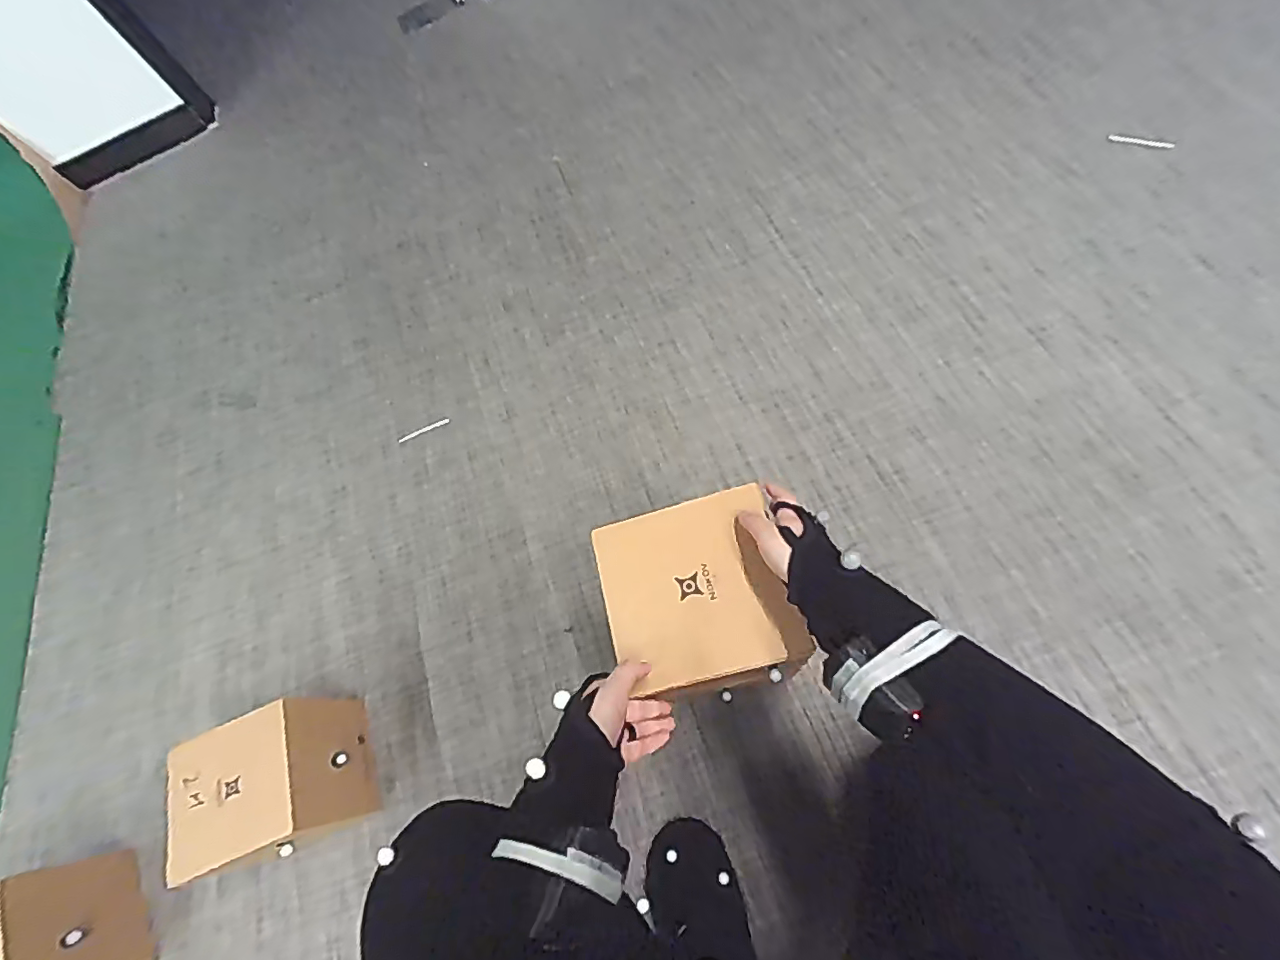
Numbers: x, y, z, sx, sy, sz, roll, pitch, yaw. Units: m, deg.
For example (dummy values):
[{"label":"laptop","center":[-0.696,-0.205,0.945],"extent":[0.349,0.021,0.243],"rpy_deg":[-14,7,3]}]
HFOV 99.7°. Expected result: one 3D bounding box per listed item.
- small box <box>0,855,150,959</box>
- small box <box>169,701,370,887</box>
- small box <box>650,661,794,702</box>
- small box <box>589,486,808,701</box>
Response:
[{"label":"small box","center":[-0.828,0.662,0.739],"extent":[0.168,0.176,0.179],"rpy_deg":[-39,65,-5]},{"label":"small box","center":[-0.508,0.427,0.763],"extent":[0.179,0.176,0.168],"rpy_deg":[-25,63,2]},{"label":"small box","center":[0.097,0.196,0.723],"extent":[0.179,0.176,0.168],"rpy_deg":[-14,66,7]},{"label":"small box","center":[0.063,0.131,0.577],"extent":[0.179,0.176,0.168],"rpy_deg":[-16,65,5]}]
